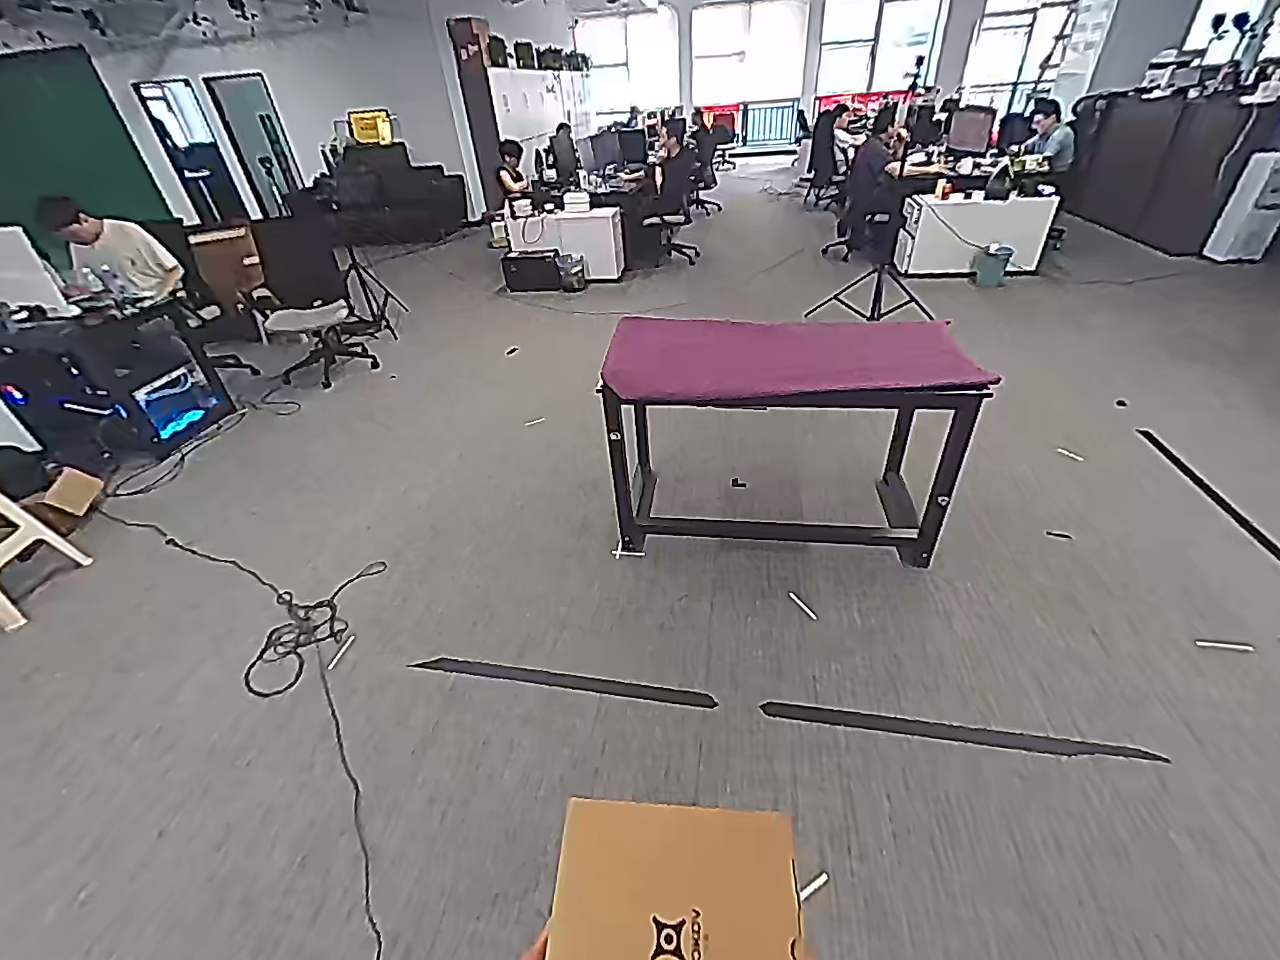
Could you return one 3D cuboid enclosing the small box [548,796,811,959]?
[{"bbox_3d":[0.029,0.366,0.418,0.179,0.176,0.168,2,43,3],"label":"small box"}]
